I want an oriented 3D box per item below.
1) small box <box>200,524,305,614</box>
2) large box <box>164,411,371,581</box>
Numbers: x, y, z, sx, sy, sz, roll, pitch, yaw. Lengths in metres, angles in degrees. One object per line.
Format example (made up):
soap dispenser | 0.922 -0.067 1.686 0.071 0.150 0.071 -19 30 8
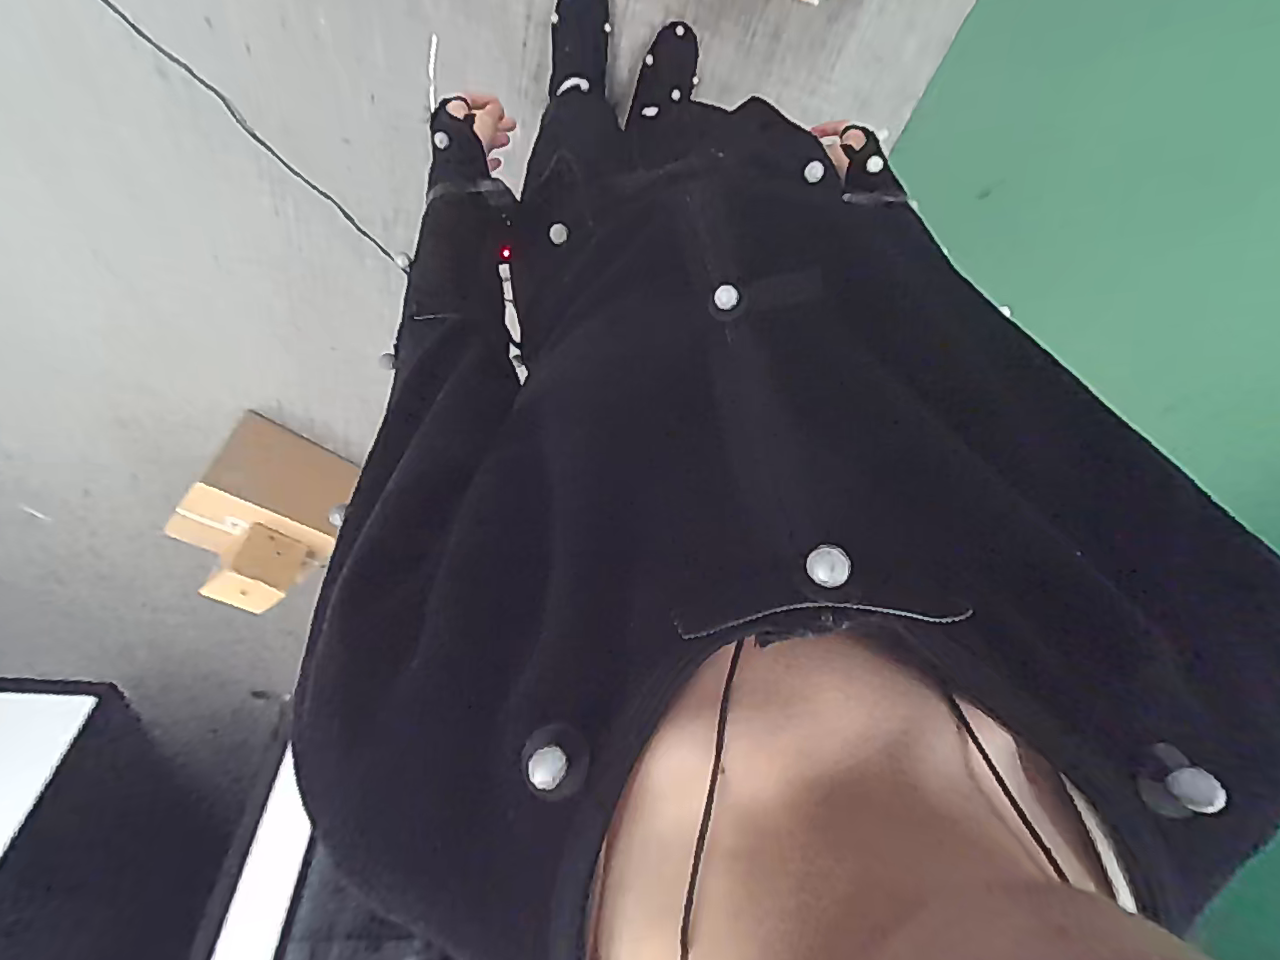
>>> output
small box | -1.125 0.261 1.585 0.179 0.176 0.168 -30 130 26
large box | -1.160 0.060 1.724 0.320 0.320 0.408 -35 127 27
